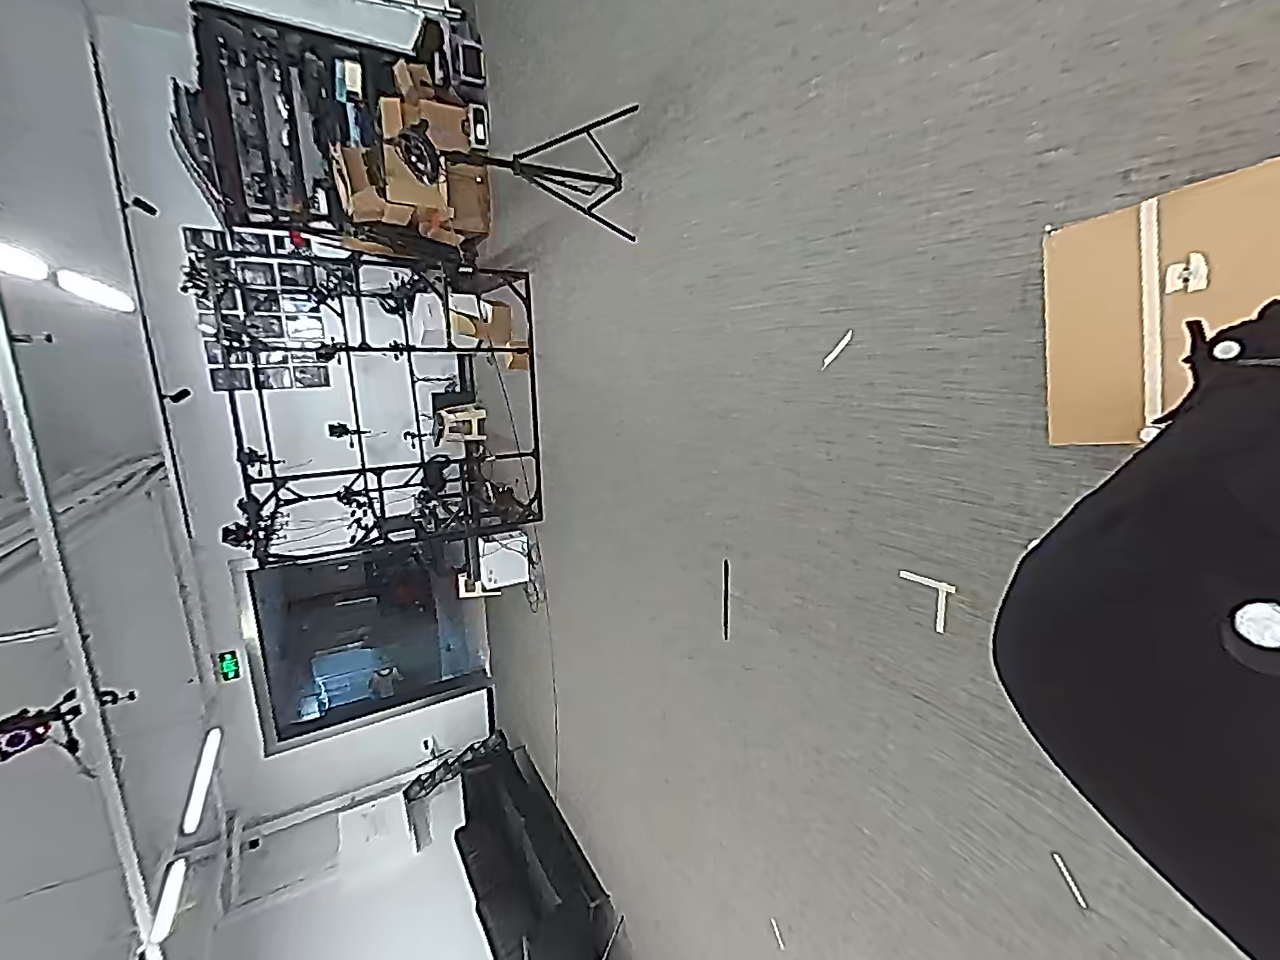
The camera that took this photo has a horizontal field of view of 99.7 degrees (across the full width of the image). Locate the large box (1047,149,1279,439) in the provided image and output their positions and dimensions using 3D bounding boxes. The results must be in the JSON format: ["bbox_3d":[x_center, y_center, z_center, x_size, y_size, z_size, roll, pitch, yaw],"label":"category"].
[{"bbox_3d":[0.989,-0.288,0.970,0.320,0.320,0.408,2,98,60],"label":"large box"}]
